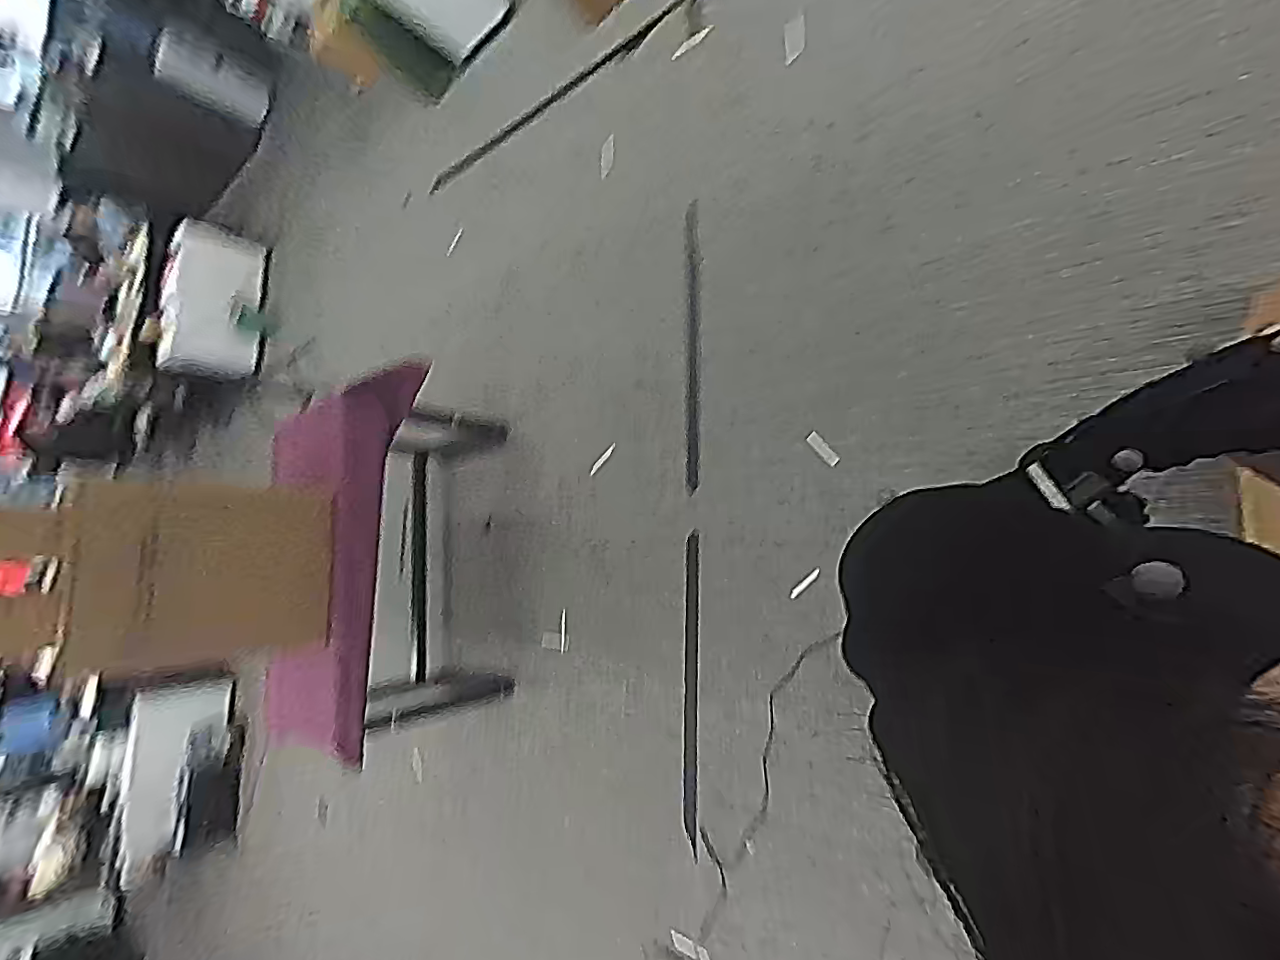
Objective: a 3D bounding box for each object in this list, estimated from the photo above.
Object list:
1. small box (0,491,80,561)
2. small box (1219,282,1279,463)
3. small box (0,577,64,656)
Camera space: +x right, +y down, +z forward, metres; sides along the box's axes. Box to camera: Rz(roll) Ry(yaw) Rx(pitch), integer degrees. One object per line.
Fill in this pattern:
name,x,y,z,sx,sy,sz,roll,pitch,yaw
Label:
small box,-1.534,0.113,1.345,0.179,0.176,0.168,-2,85,38
small box,0.541,-0.081,0.339,0.168,0.176,0.179,33,75,12
small box,-1.573,0.336,1.350,0.168,0.176,0.179,-3,83,39
